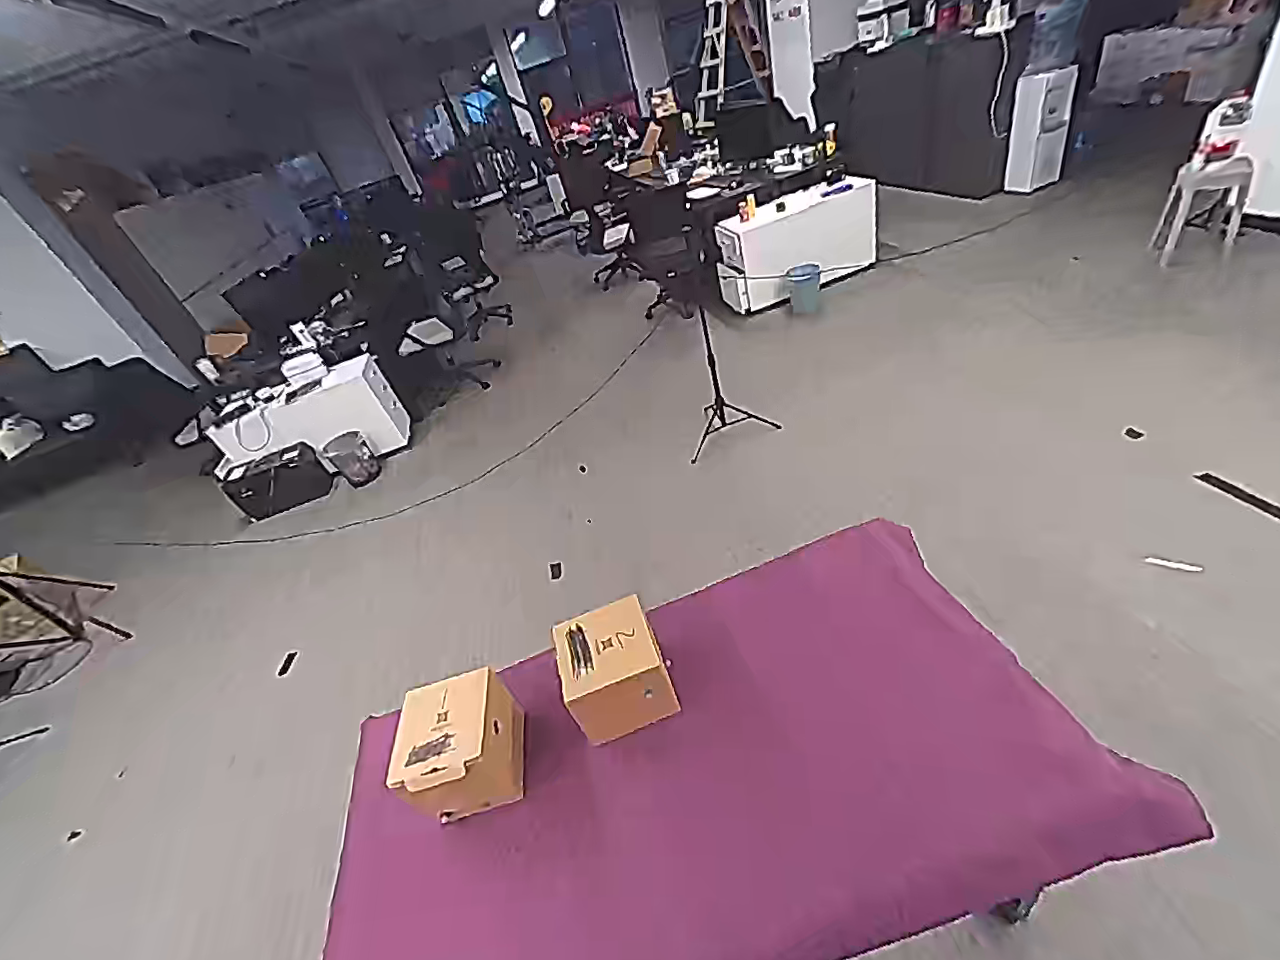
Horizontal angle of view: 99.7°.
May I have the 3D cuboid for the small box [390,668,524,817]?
[{"bbox_3d":[-0.318,0.480,0.978,0.168,0.176,0.179,-17,37,1],"label":"small box"}]
